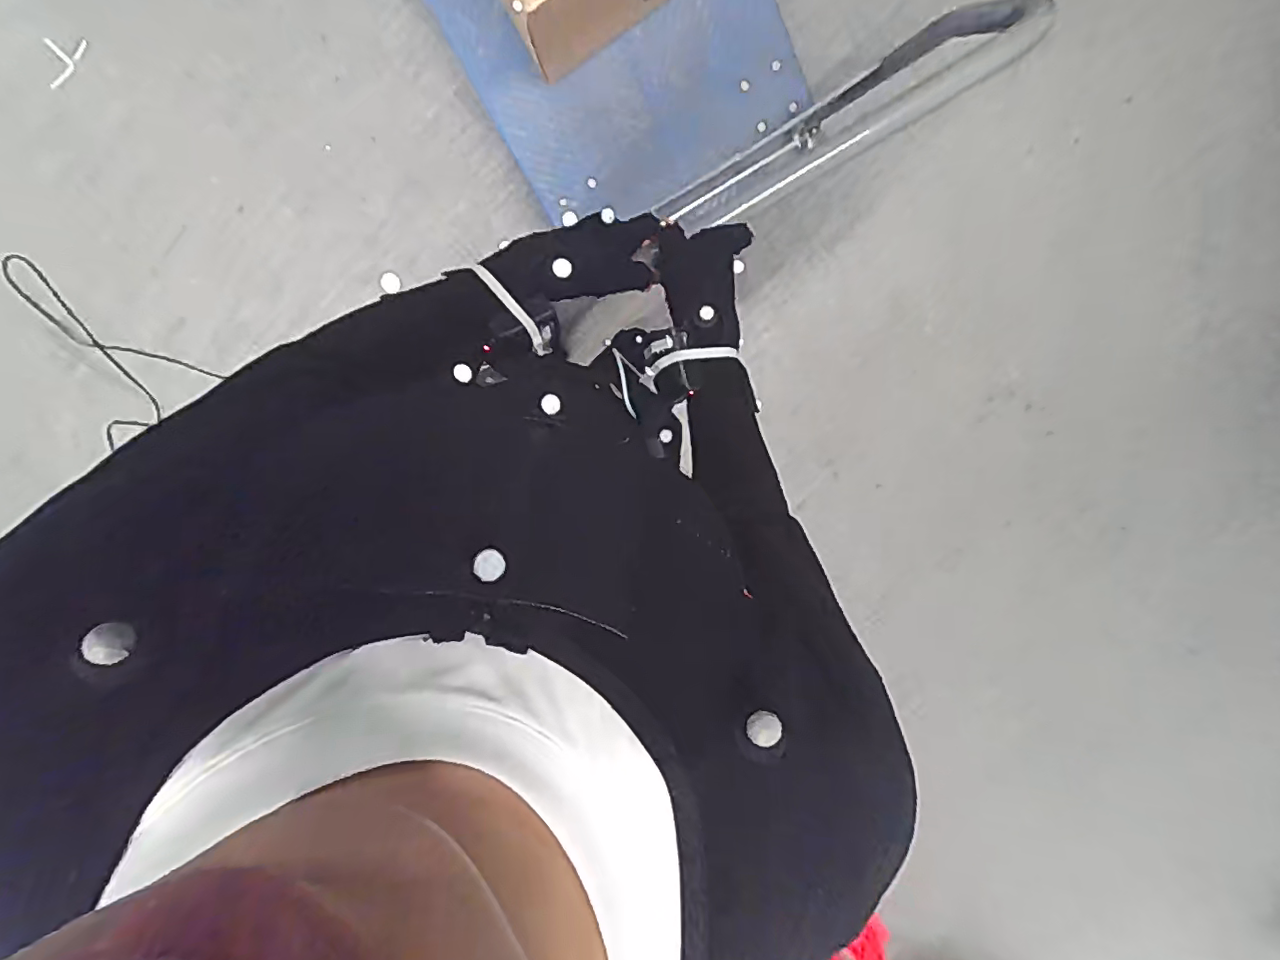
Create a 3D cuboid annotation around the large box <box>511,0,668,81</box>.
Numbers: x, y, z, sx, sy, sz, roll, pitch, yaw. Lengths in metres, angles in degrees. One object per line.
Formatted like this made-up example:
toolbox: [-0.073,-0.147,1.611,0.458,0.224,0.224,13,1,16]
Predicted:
large box: [-0.065,-0.943,0.843,0.408,0.320,0.320,-31,108,9]
